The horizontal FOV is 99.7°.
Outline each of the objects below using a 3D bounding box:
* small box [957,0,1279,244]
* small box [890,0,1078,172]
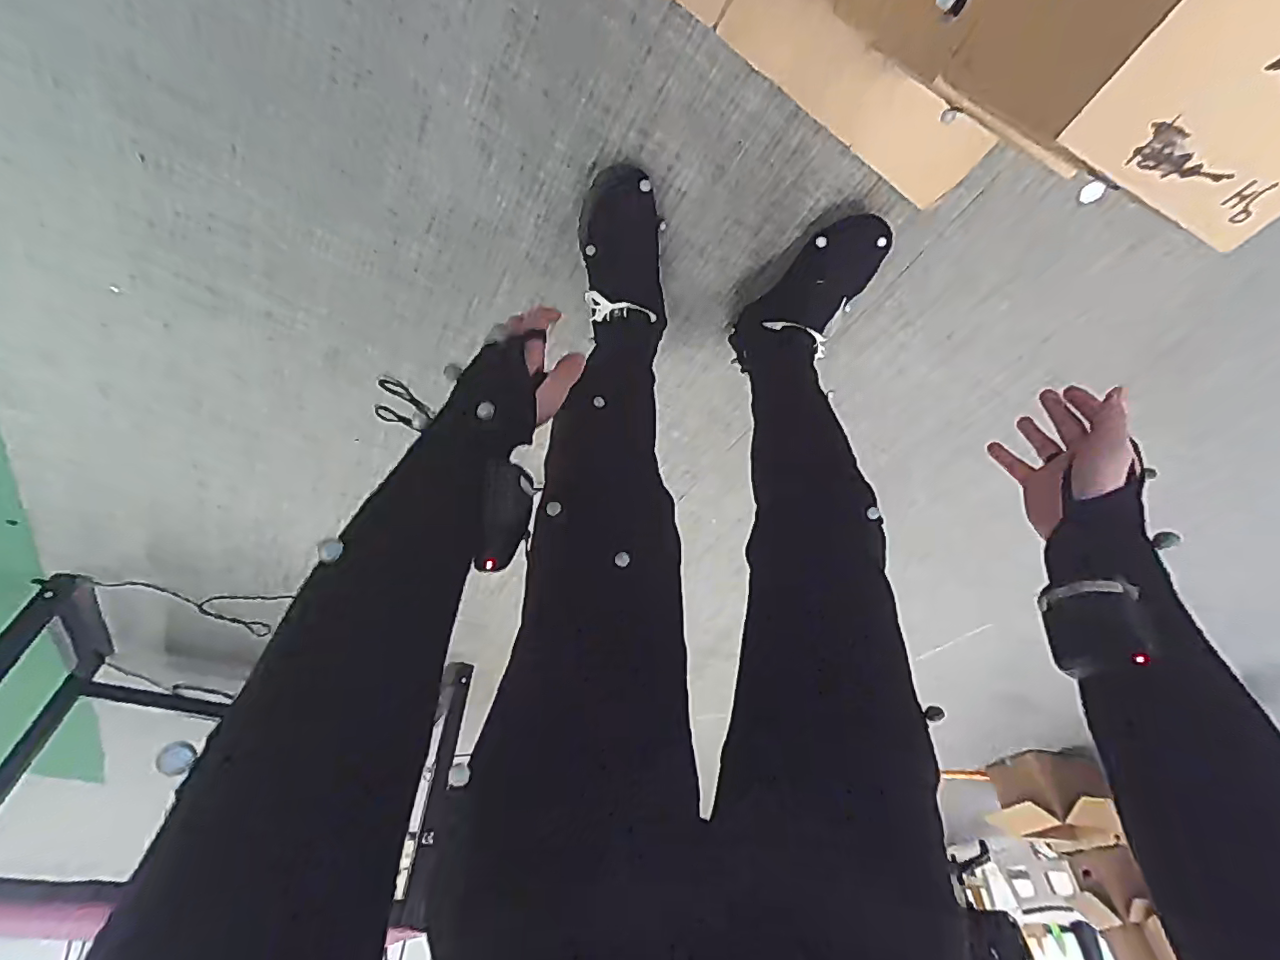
[{"bbox_3d":[0.336,-0.283,0.318,0.168,0.176,0.179,17,134,-17],"label":"small box"},{"bbox_3d":[0.332,-0.397,0.435,0.168,0.176,0.179,18,134,-19],"label":"small box"}]
